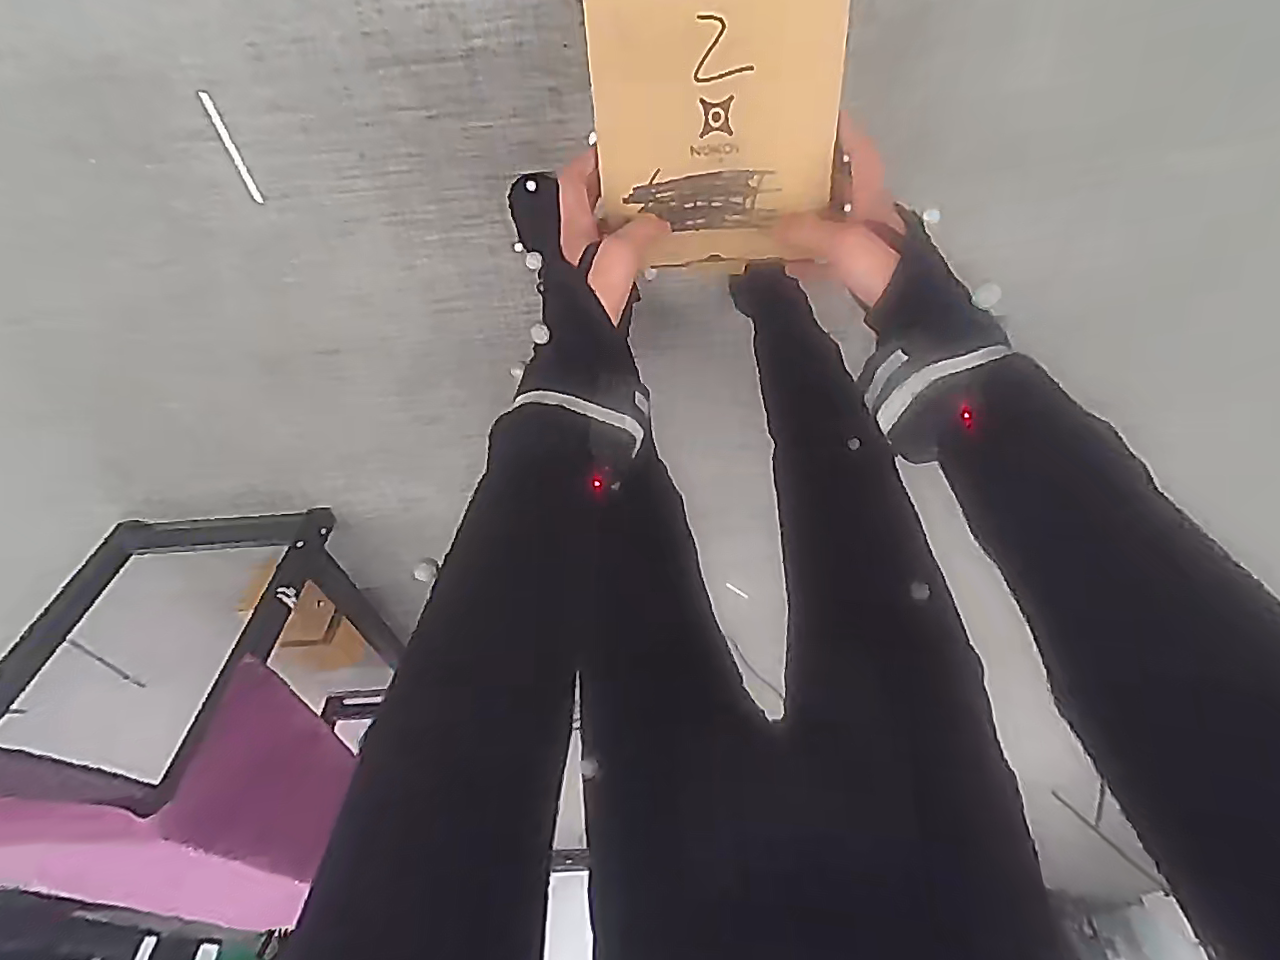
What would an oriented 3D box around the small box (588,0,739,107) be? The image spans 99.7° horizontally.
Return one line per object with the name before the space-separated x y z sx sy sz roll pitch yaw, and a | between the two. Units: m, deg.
small box | 0.022 -0.574 0.640 0.168 0.176 0.179 -6 136 5
